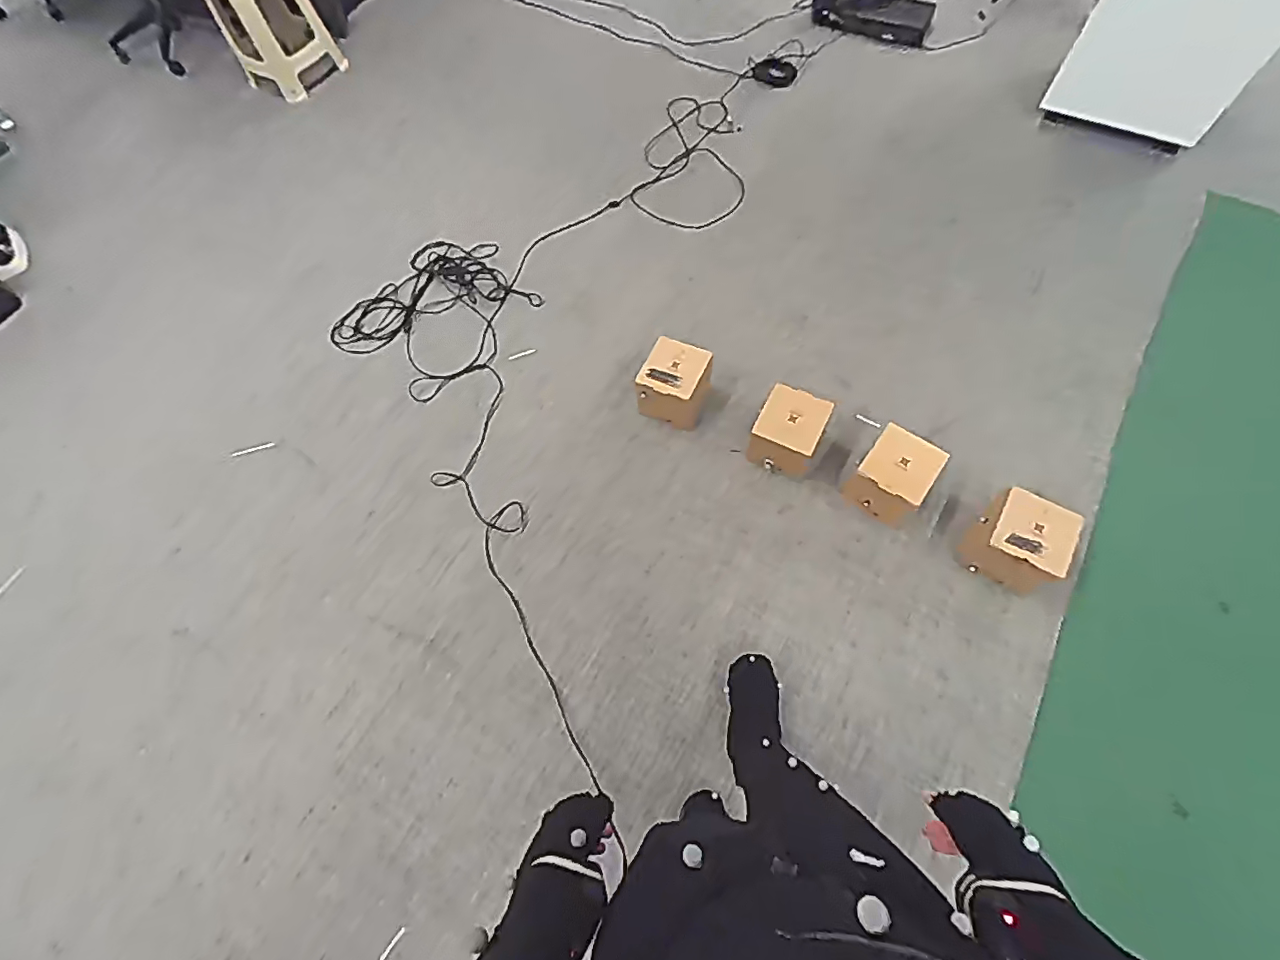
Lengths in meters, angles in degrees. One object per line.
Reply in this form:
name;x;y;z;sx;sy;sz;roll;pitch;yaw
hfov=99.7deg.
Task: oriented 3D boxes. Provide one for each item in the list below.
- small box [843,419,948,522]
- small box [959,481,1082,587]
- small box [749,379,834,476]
small box;0.658;-0.020;1.415;0.168;0.176;0.179;34;73;17
small box;0.919;0.139;1.324;0.168;0.176;0.179;29;71;16
small box;0.409;-0.140;1.486;0.168;0.176;0.179;24;72;16
